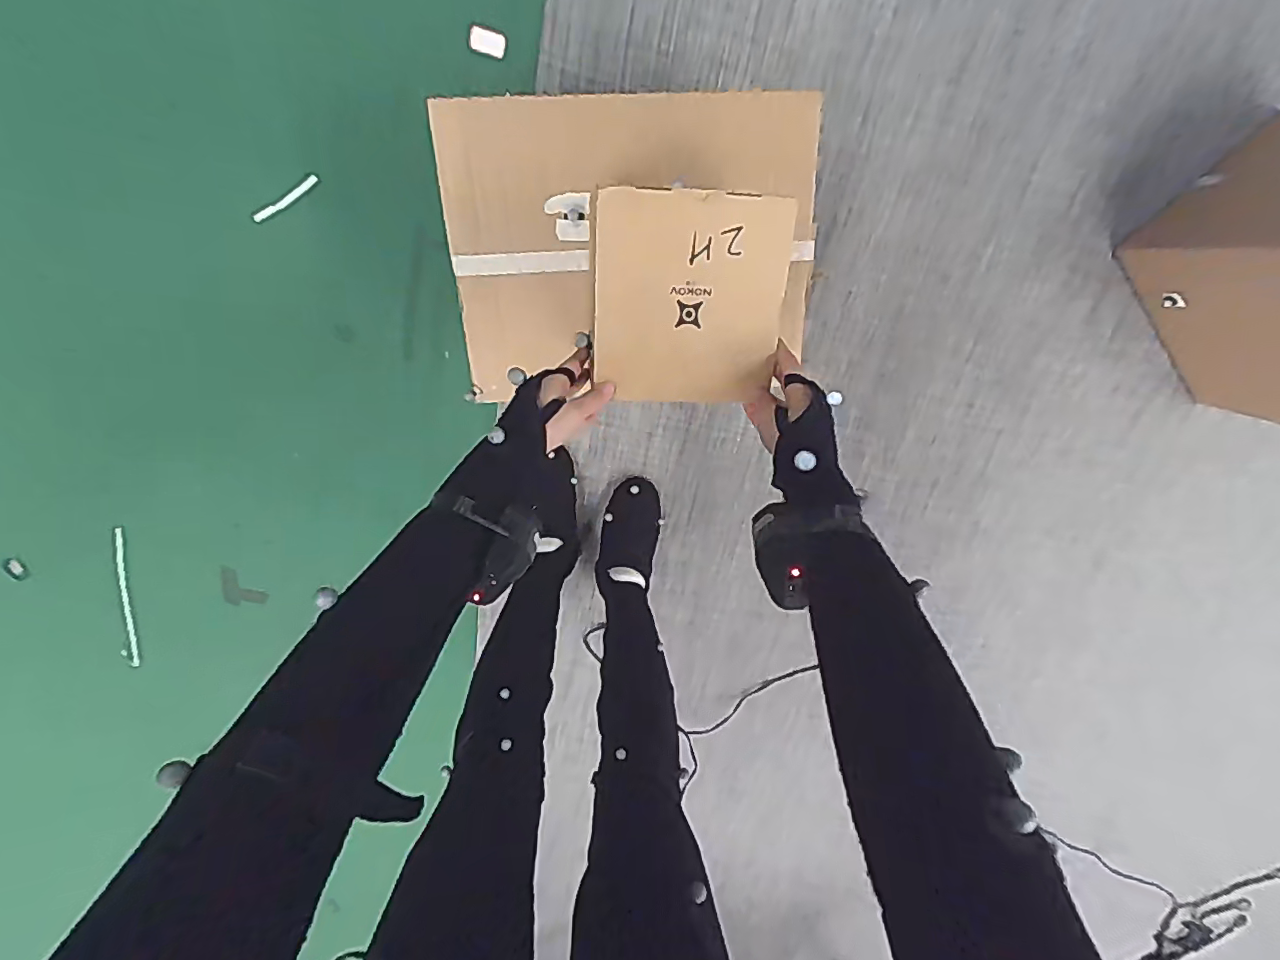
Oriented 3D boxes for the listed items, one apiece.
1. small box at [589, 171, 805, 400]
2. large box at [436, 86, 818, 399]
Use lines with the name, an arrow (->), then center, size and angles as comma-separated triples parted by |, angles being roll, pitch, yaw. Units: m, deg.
small box -> 0.038, -0.188, 0.532 | 0.168, 0.176, 0.179 | 1, 113, -9
large box -> -0.012, -0.310, 0.747 | 0.408, 0.320, 0.320 | -3, 112, -3
